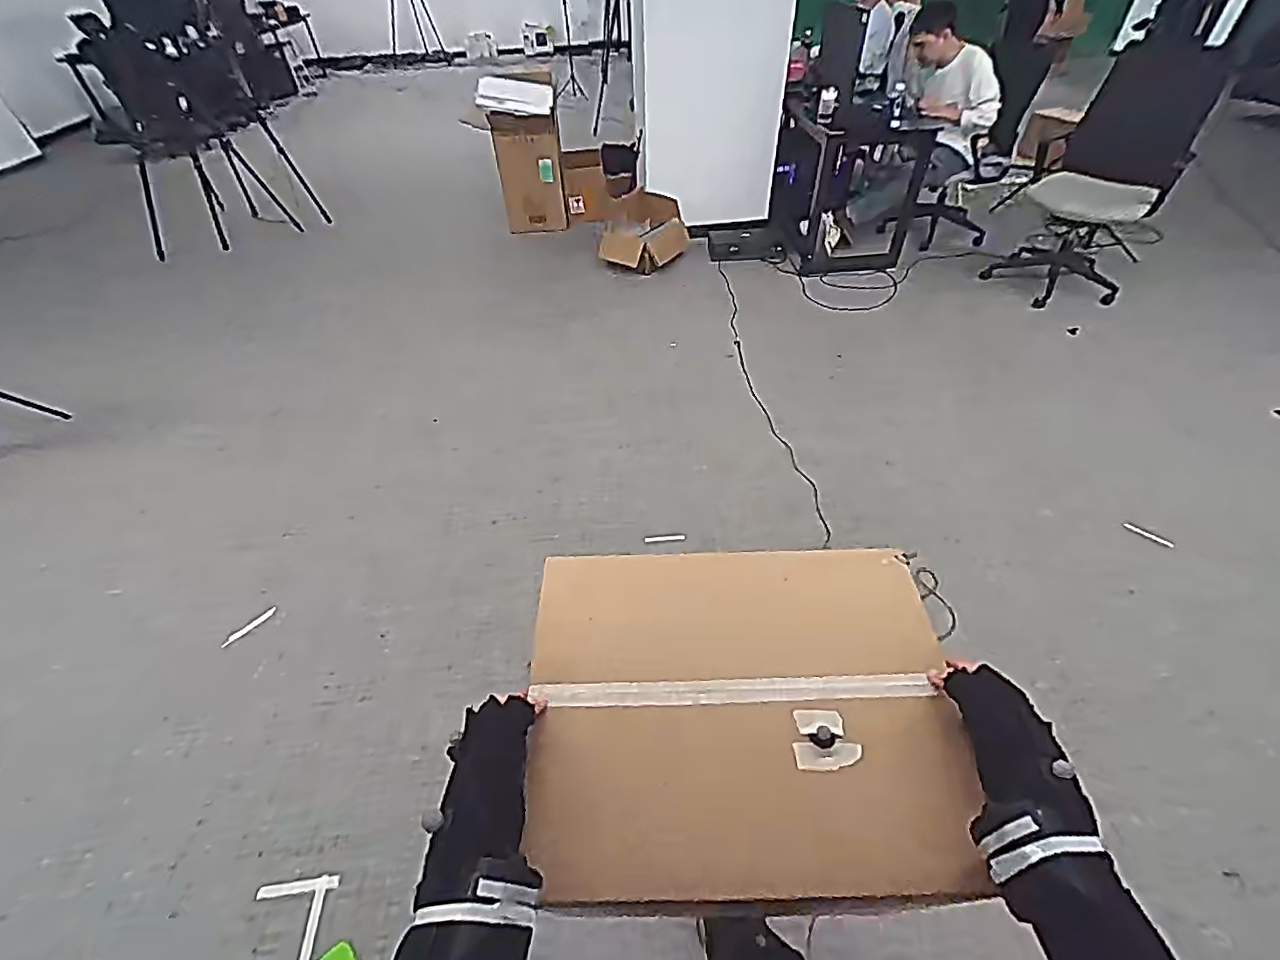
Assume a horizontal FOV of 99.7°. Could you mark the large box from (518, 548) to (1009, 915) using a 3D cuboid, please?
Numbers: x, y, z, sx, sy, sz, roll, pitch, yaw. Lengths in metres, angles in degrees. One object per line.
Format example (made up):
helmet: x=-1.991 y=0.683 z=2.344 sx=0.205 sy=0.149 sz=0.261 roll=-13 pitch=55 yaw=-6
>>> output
large box: x=0.097 y=0.299 z=0.637 sx=0.408 sy=0.320 sz=0.320 roll=-2 pitch=49 yaw=1

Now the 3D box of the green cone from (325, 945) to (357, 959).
green cone: x=-0.630 y=0.943 z=0.913 sx=0.202 sy=0.368 sz=0.200 roll=-35 pitch=52 yaw=-26
